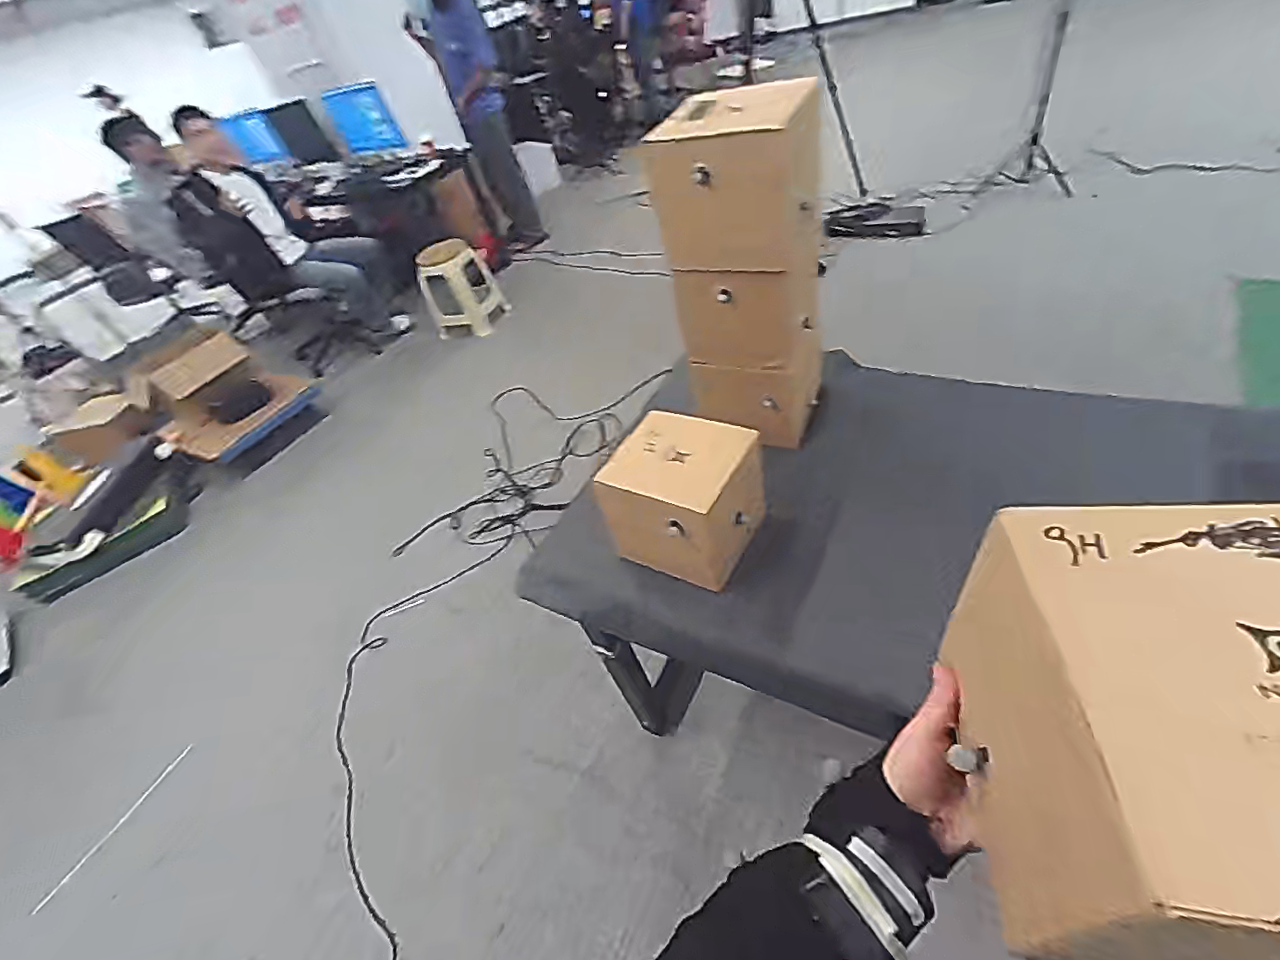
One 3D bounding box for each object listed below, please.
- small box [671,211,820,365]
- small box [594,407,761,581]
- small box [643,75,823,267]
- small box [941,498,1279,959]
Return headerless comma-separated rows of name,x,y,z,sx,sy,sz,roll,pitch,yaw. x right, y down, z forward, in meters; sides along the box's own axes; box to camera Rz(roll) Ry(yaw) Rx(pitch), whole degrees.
small box,0.170,-0.295,0.836,0.179,0.176,0.168,12,54,26
small box,0.066,0.022,0.786,0.179,0.176,0.168,16,51,30
small box,0.131,-0.398,0.713,0.179,0.176,0.168,13,54,27
small box,0.271,0.128,0.271,0.168,0.176,0.179,-1,46,14
